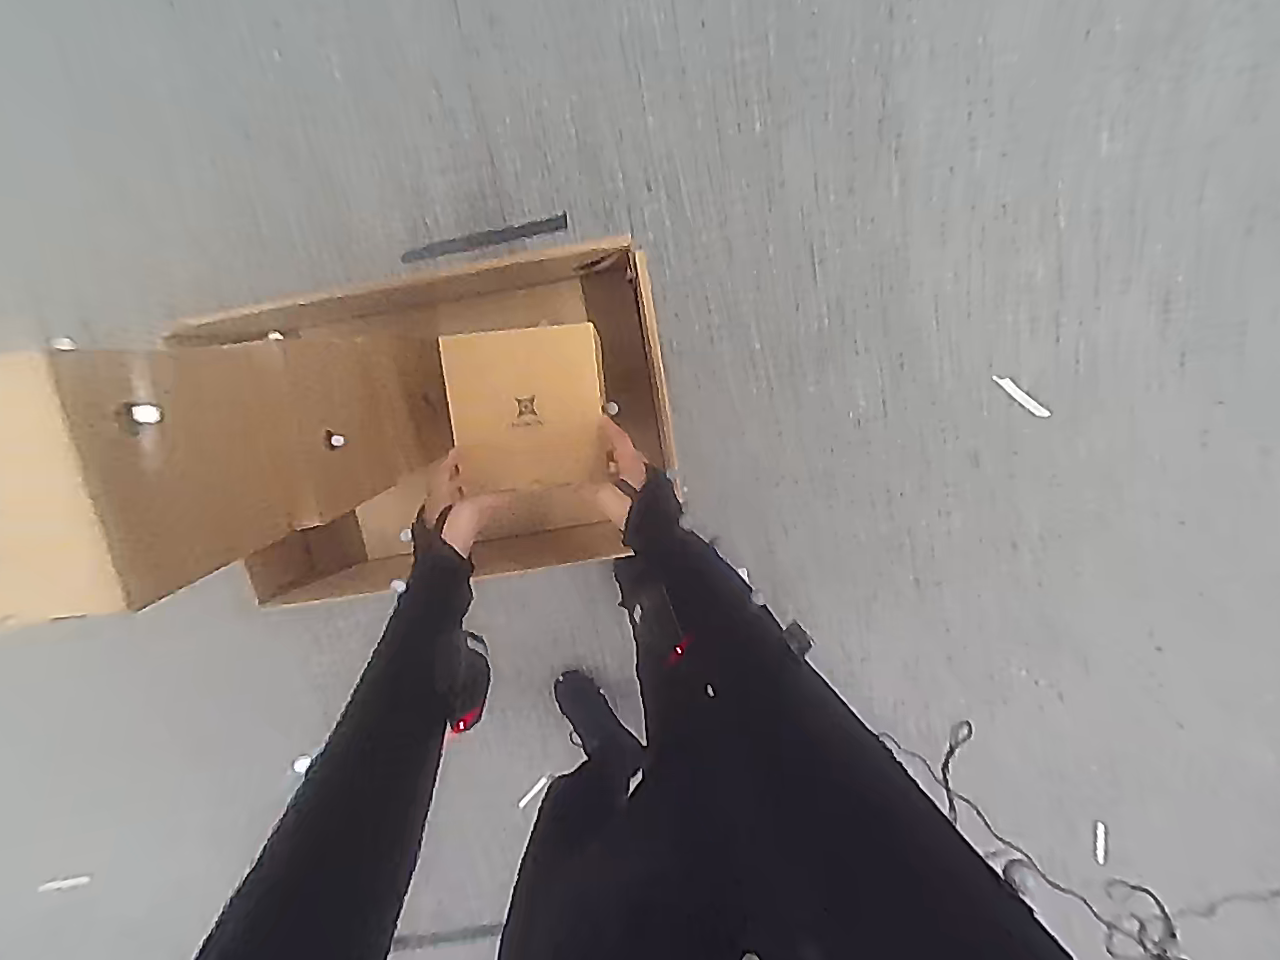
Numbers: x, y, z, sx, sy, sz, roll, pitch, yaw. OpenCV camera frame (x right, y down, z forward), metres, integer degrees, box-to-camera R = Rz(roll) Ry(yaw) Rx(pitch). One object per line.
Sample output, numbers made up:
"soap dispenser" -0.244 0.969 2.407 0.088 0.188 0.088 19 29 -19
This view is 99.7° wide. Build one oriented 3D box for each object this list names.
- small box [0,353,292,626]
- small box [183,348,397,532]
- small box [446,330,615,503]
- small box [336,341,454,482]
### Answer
"small box" -0.418 -0.004 0.426 0.168 0.176 0.179 -4 104 1
"small box" -0.387 -0.048 0.584 0.168 0.176 0.179 -5 103 1
"small box" -0.122 -0.081 0.664 0.168 0.176 0.179 -6 102 -2
"small box" -0.380 -0.084 0.744 0.168 0.176 0.179 -11 102 4
